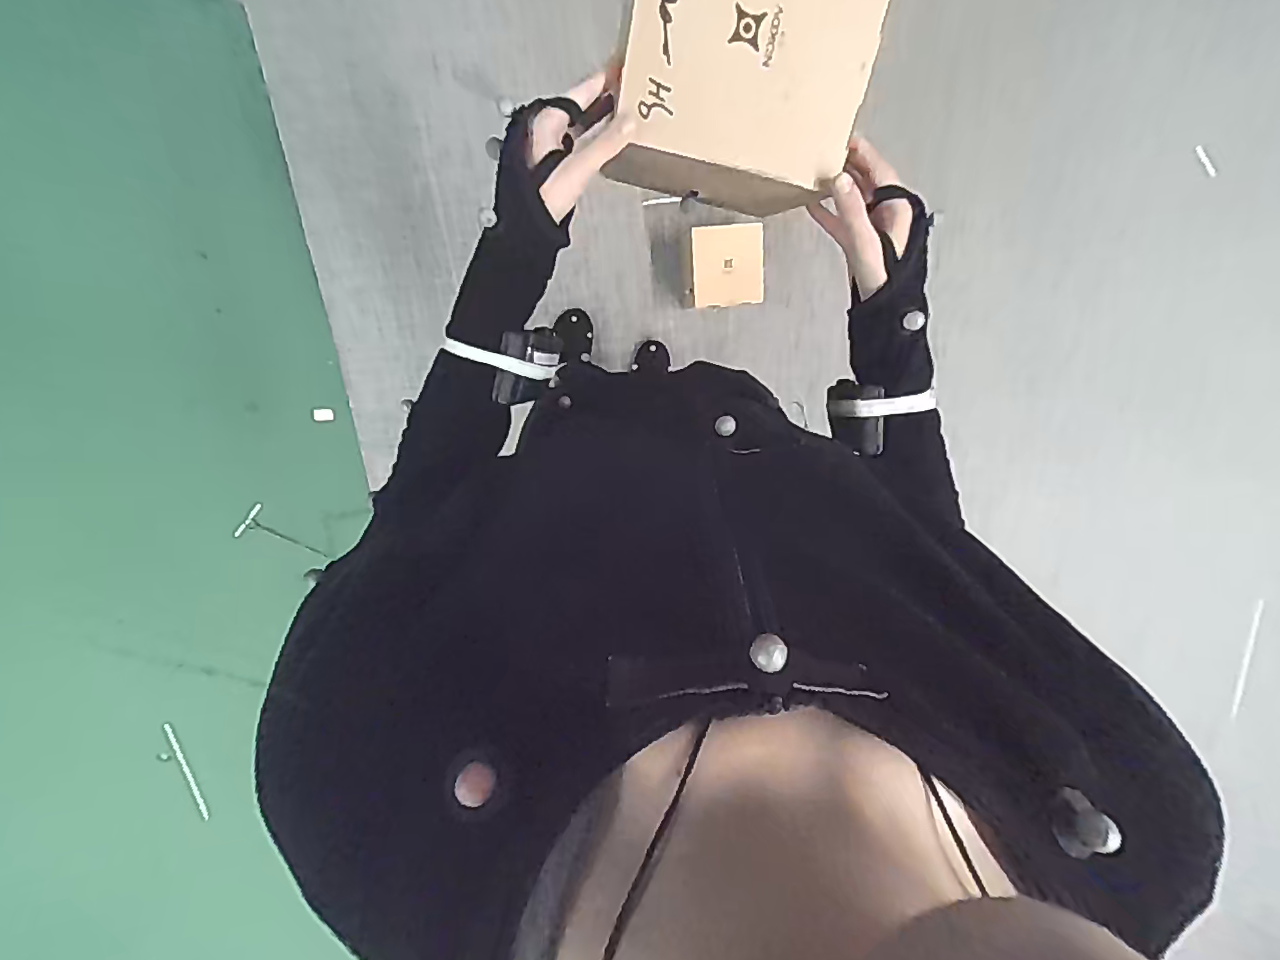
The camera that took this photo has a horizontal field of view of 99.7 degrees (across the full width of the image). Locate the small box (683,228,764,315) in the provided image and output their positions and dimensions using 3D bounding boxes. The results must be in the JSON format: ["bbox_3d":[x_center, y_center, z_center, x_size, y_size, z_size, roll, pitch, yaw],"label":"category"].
[{"bbox_3d":[0.198,-0.501,1.317,0.168,0.176,0.179,-5,107,-2],"label":"small box"}]

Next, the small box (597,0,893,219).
[{"bbox_3d":[0.068,-0.324,0.444,0.179,0.176,0.168,9,109,-11],"label":"small box"}]
